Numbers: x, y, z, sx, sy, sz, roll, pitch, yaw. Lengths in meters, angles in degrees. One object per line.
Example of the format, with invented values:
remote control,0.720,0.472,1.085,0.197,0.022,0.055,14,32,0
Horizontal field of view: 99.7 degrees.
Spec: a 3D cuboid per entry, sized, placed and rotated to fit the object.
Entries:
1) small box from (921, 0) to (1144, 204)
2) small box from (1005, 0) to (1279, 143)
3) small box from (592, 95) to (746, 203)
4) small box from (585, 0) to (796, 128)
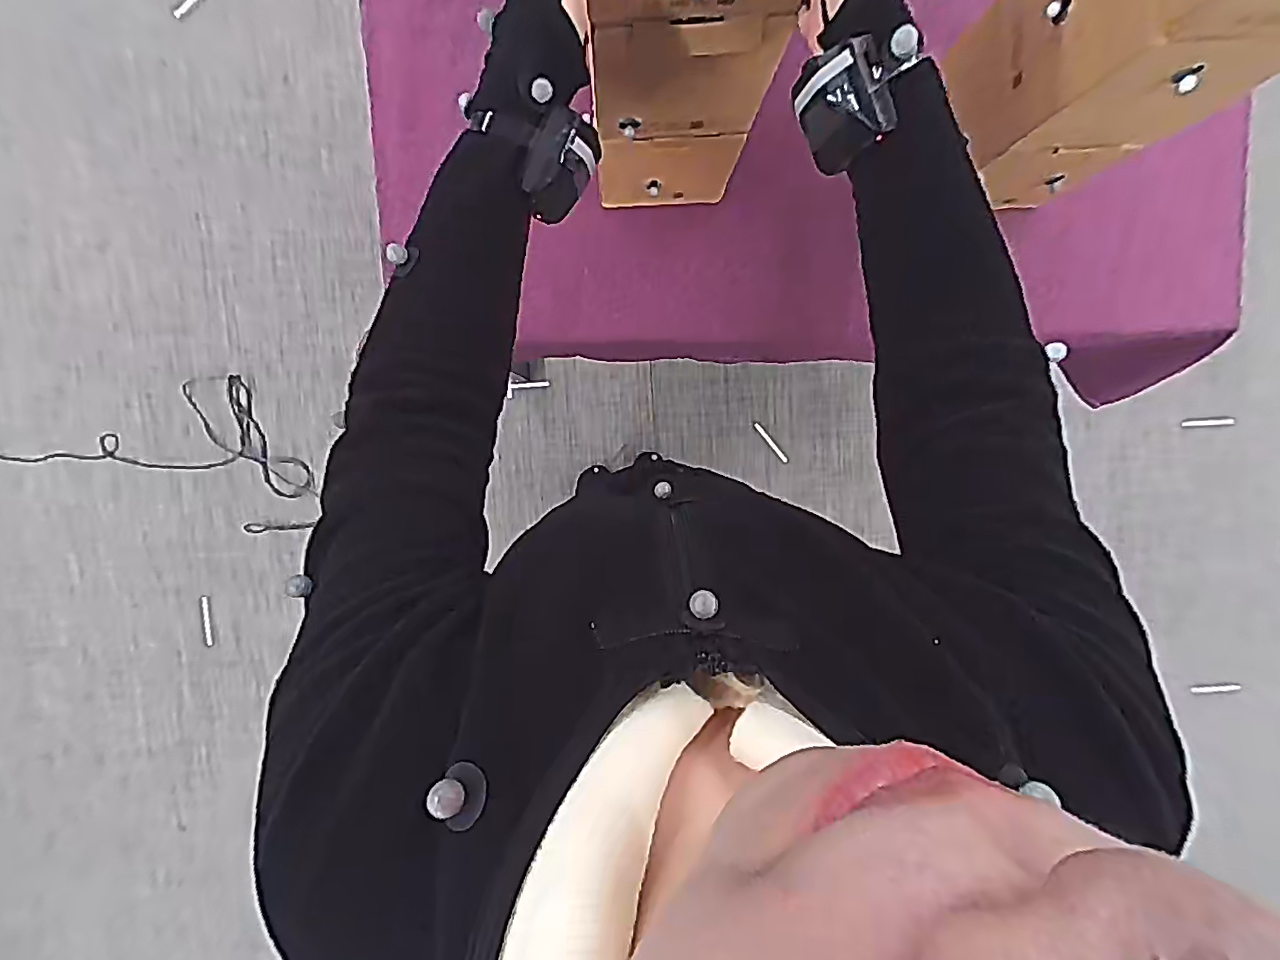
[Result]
small box,0.474,-0.463,0.674,0.168,0.176,0.179,-3,94,-3
small box,0.481,-0.446,0.510,0.179,0.176,0.168,-4,96,-3
small box,0.025,-0.463,0.655,0.168,0.176,0.179,-4,96,-2
small box,0.032,-0.450,0.492,0.168,0.176,0.179,-5,95,-3
